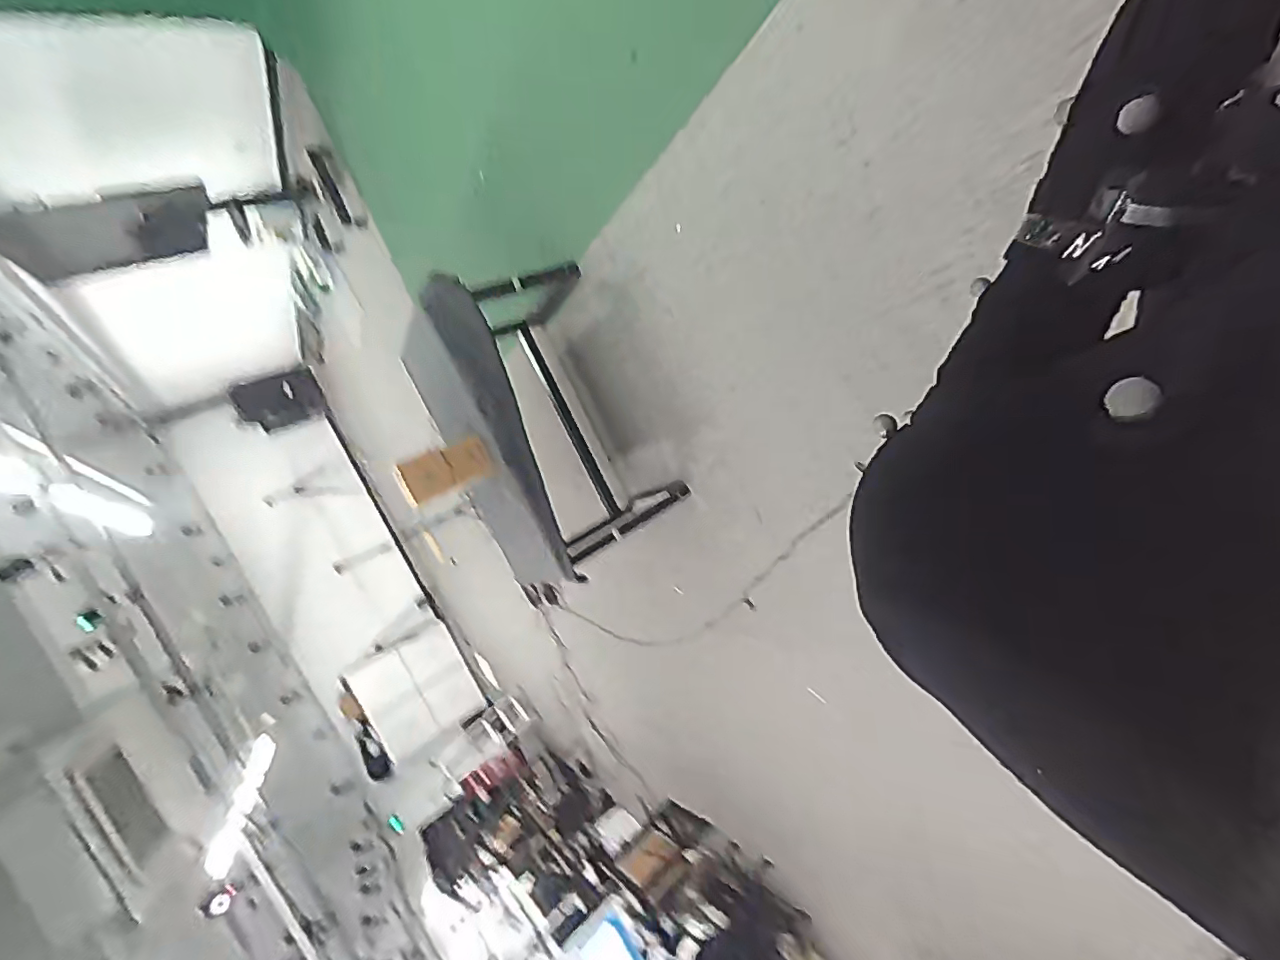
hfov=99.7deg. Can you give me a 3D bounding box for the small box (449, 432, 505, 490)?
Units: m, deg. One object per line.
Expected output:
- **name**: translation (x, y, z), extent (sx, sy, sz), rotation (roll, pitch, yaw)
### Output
- **small box**: translation (-0.677, -0.079, 2.217), extent (0.179, 0.176, 0.168), rotation (-20, 97, 59)

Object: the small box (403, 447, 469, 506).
- **small box**: translation (-0.802, -0.017, 2.127), extent (0.168, 0.176, 0.179), rotation (-14, 104, 60)
